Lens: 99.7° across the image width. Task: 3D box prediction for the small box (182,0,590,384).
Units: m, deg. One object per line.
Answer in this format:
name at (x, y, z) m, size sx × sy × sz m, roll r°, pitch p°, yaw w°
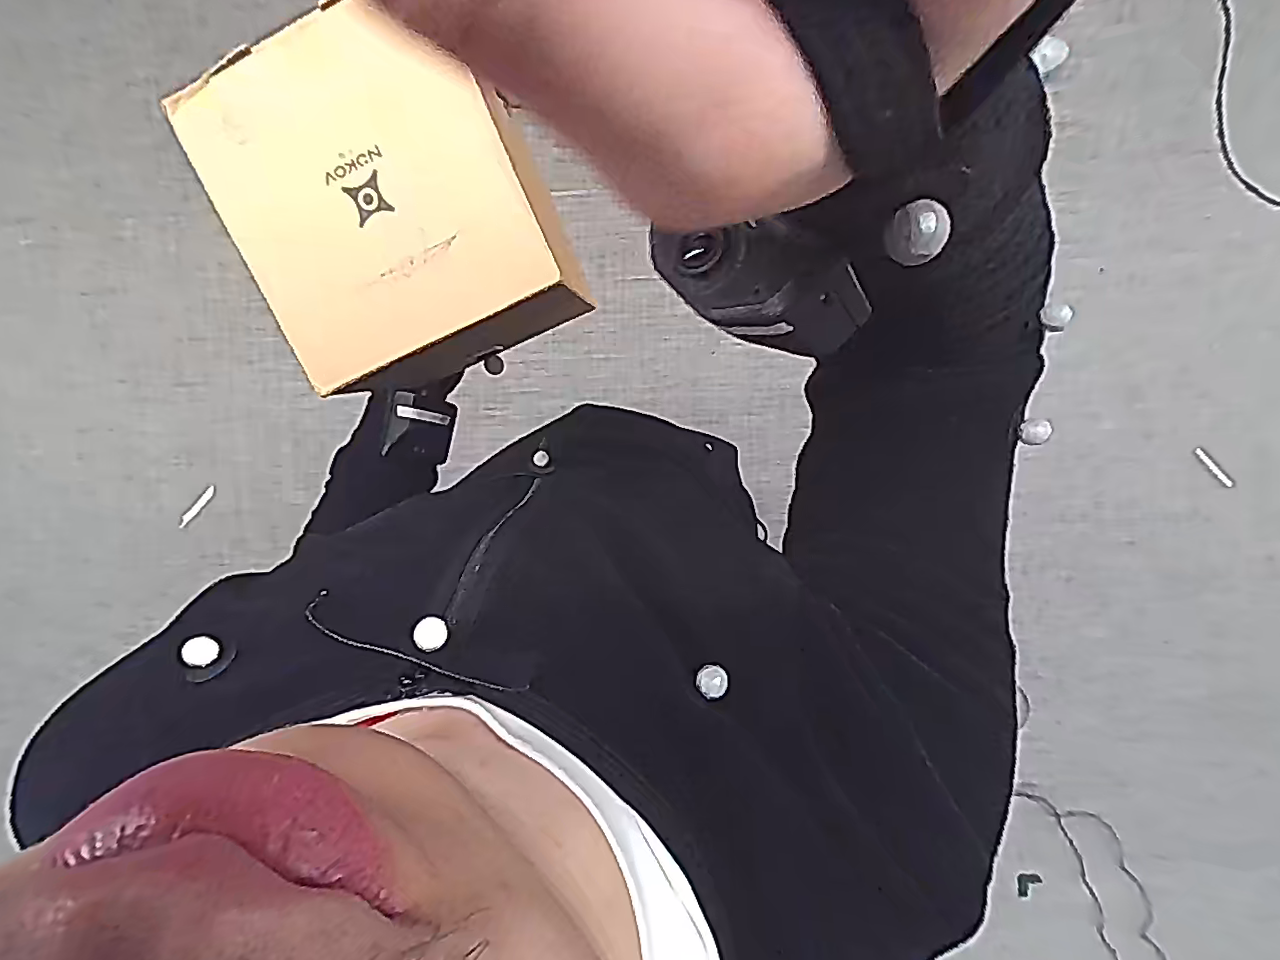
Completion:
small box at (-0.149, -0.180, 0.388) m, size 0.168 × 0.176 × 0.179 m, roll -22°, pitch 101°, yaw 7°
